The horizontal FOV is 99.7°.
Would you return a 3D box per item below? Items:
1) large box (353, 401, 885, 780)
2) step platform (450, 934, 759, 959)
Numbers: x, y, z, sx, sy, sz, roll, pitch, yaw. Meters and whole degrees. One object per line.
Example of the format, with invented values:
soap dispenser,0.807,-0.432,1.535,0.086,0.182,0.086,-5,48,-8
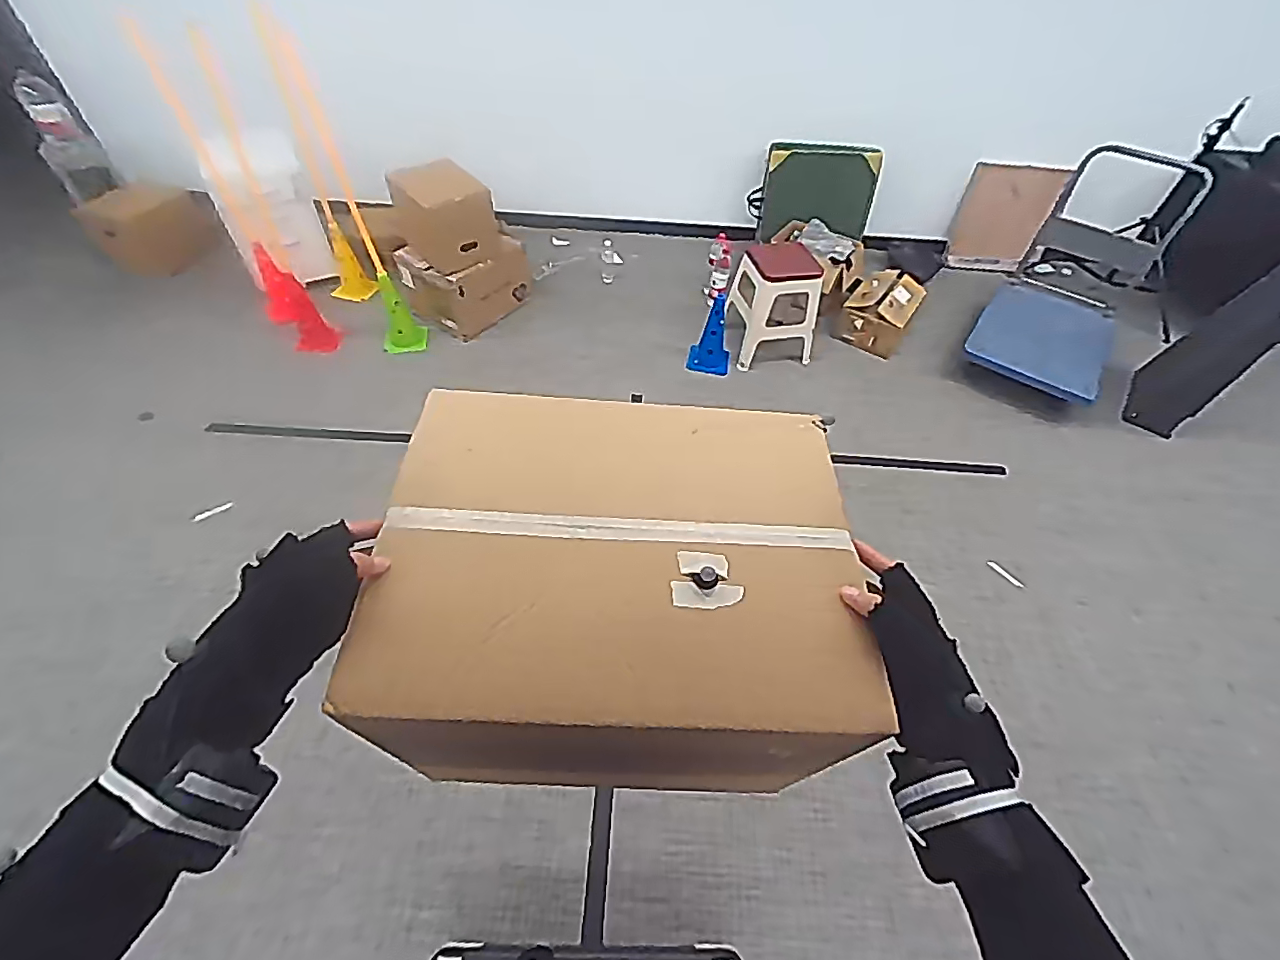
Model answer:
large box,-0.023,0.138,0.602,0.408,0.320,0.320,4,54,-4
step platform,-0.075,1.123,1.112,0.684,0.204,0.286,2,50,-3
